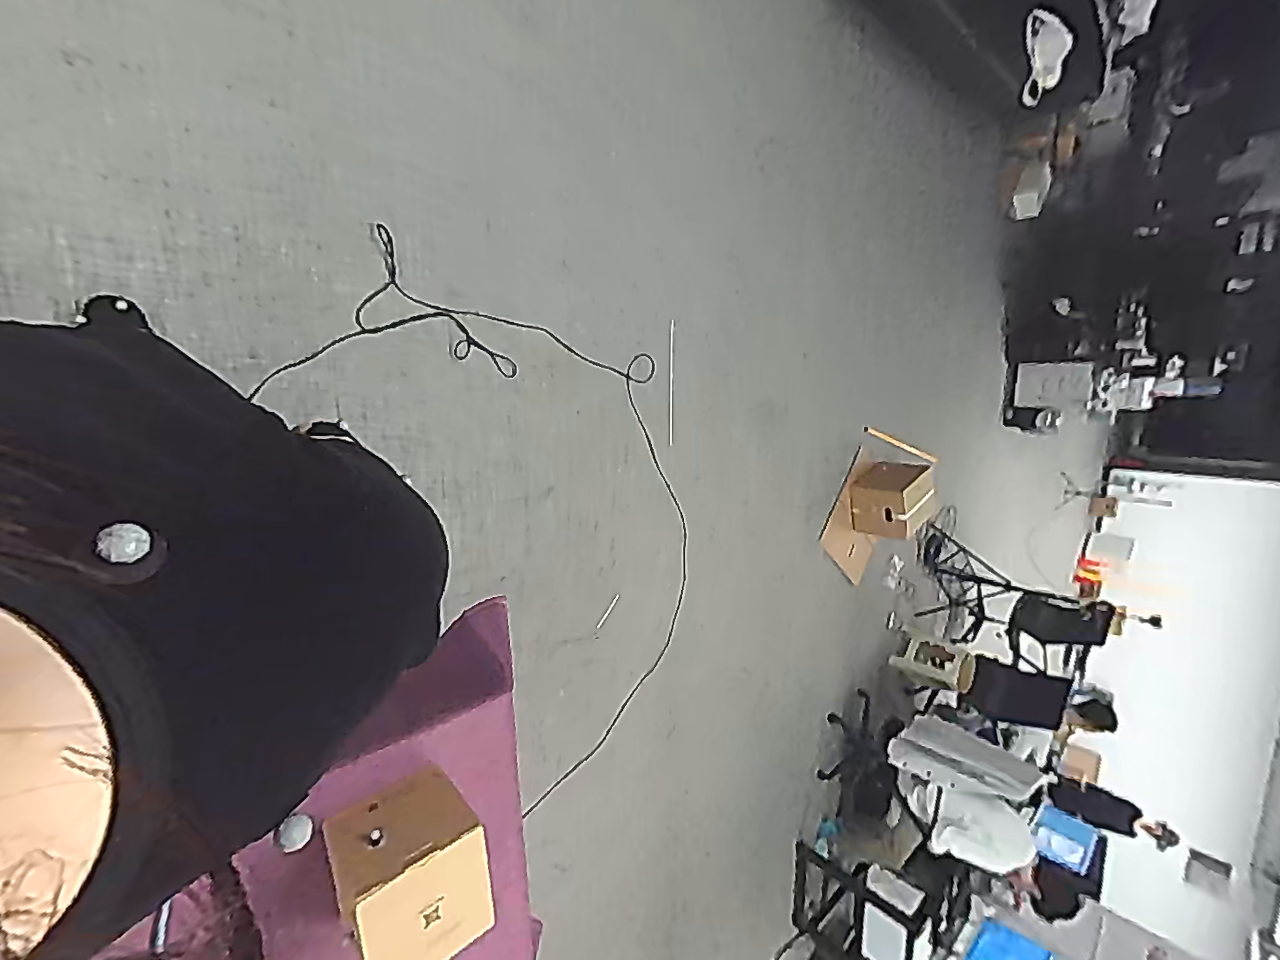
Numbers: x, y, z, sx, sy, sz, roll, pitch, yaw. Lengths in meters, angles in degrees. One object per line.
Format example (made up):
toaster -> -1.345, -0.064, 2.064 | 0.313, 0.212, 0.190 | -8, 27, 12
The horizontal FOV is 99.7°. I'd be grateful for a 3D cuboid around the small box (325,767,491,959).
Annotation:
small box -> -0.336, 0.552, 0.780 | 0.168, 0.176, 0.179 | -13, 107, -40
